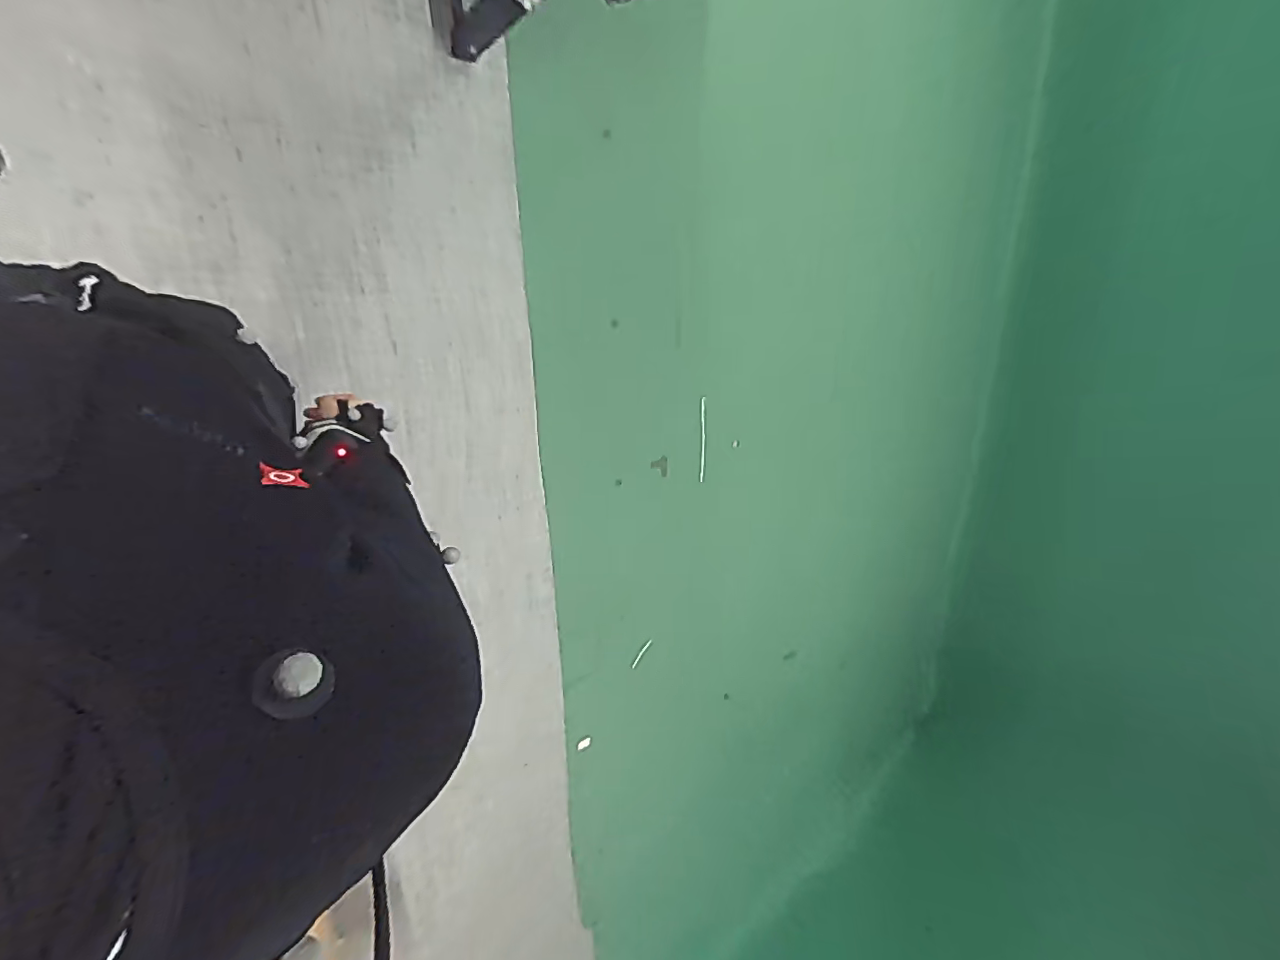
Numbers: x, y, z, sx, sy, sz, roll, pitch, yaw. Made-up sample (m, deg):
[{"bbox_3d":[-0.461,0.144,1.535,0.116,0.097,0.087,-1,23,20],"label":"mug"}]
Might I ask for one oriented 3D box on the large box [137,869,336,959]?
[{"bbox_3d":[-0.941,1.234,1.244,0.408,0.320,0.320,-15,113,-35],"label":"large box"}]
